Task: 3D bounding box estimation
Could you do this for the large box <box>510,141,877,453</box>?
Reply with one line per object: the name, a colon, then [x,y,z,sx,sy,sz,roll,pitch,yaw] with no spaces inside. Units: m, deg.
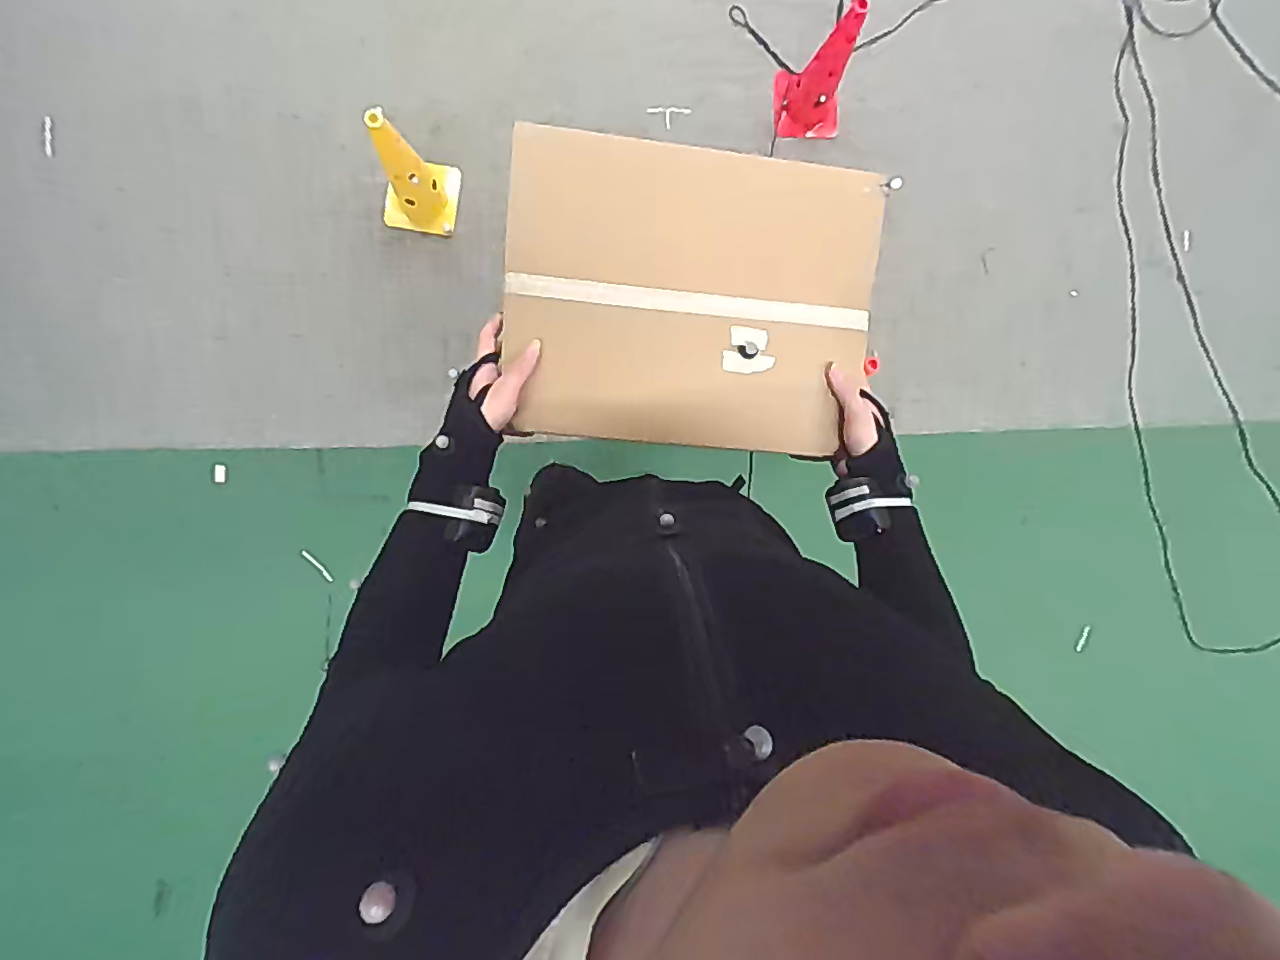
large box: [0.043,-0.214,0.748,0.408,0.320,0.320,3,99,-7]
